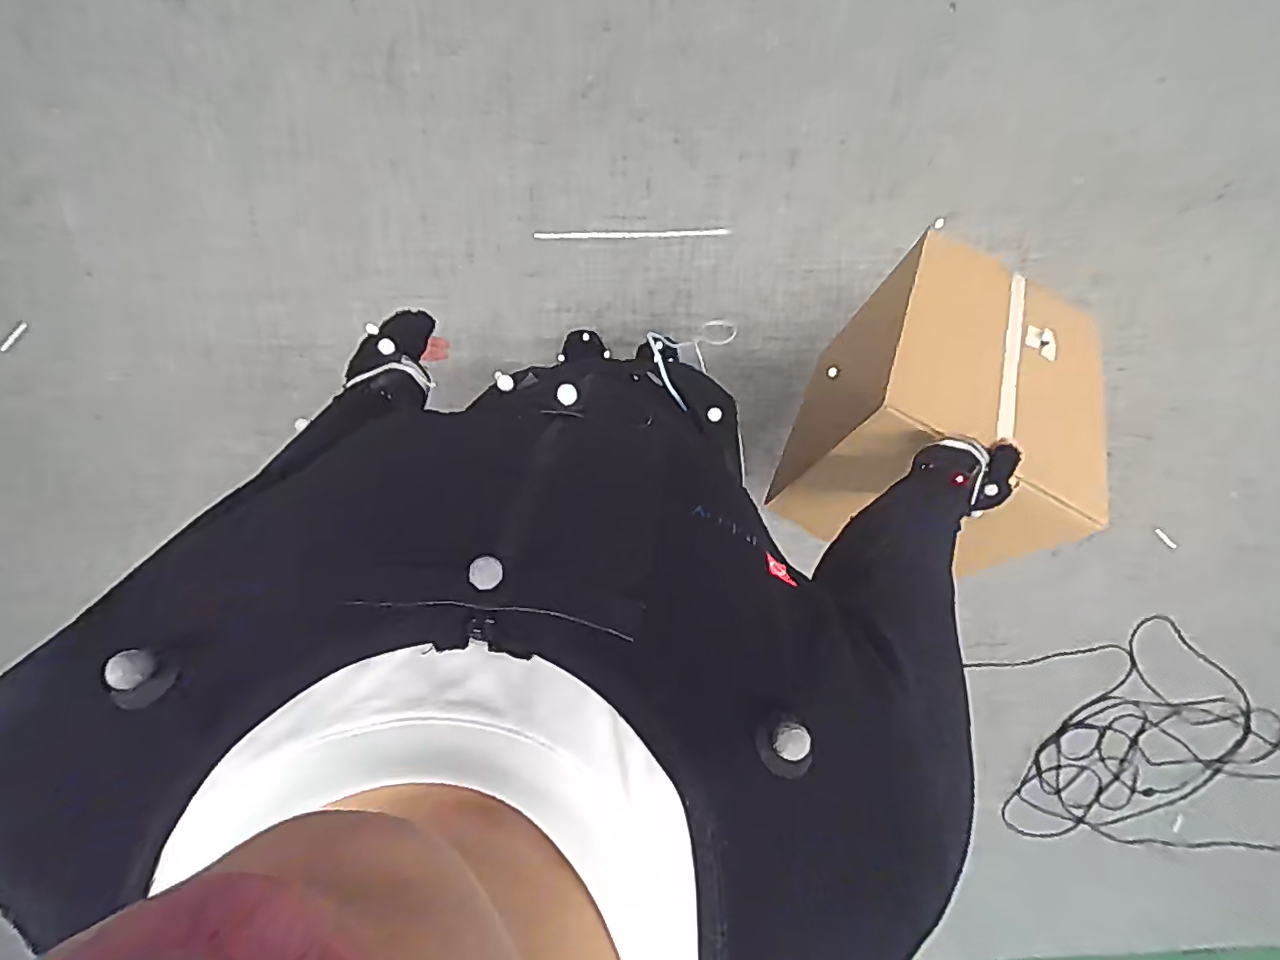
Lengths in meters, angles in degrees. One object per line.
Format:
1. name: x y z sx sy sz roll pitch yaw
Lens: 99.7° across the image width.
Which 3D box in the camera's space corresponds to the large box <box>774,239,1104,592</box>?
1. large box: 0.464 -0.092 0.879 0.320 0.320 0.408 29 59 -2
